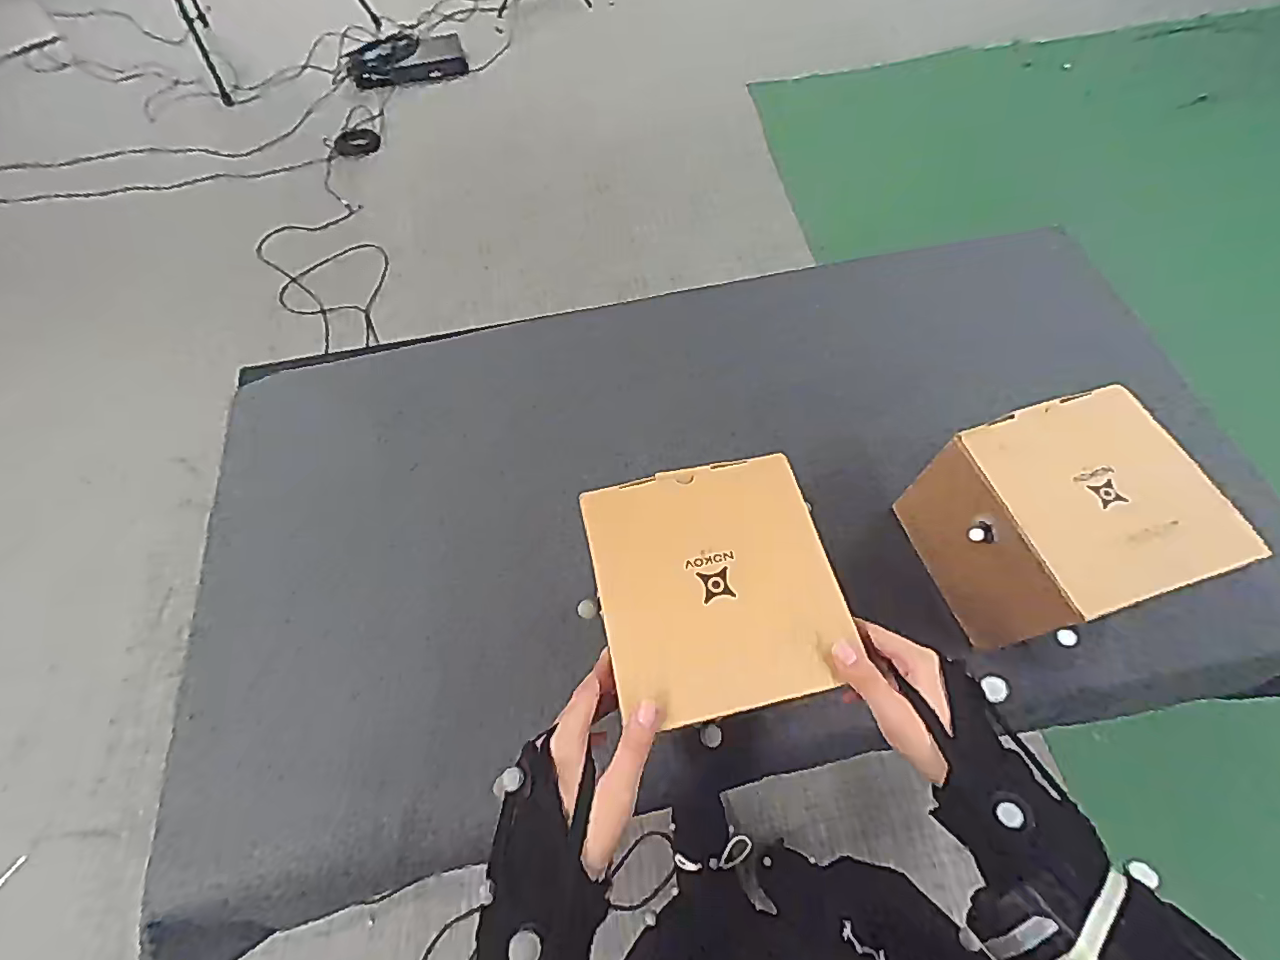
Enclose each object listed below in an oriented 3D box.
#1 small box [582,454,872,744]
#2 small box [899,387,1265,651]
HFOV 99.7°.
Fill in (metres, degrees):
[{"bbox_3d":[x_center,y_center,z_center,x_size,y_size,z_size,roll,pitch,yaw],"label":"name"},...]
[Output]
[{"bbox_3d":[0.054,0.106,0.445,0.168,0.176,0.179,-11,62,-6],"label":"small box"},{"bbox_3d":[0.386,0.045,0.519,0.168,0.176,0.179,-18,64,-5],"label":"small box"}]
